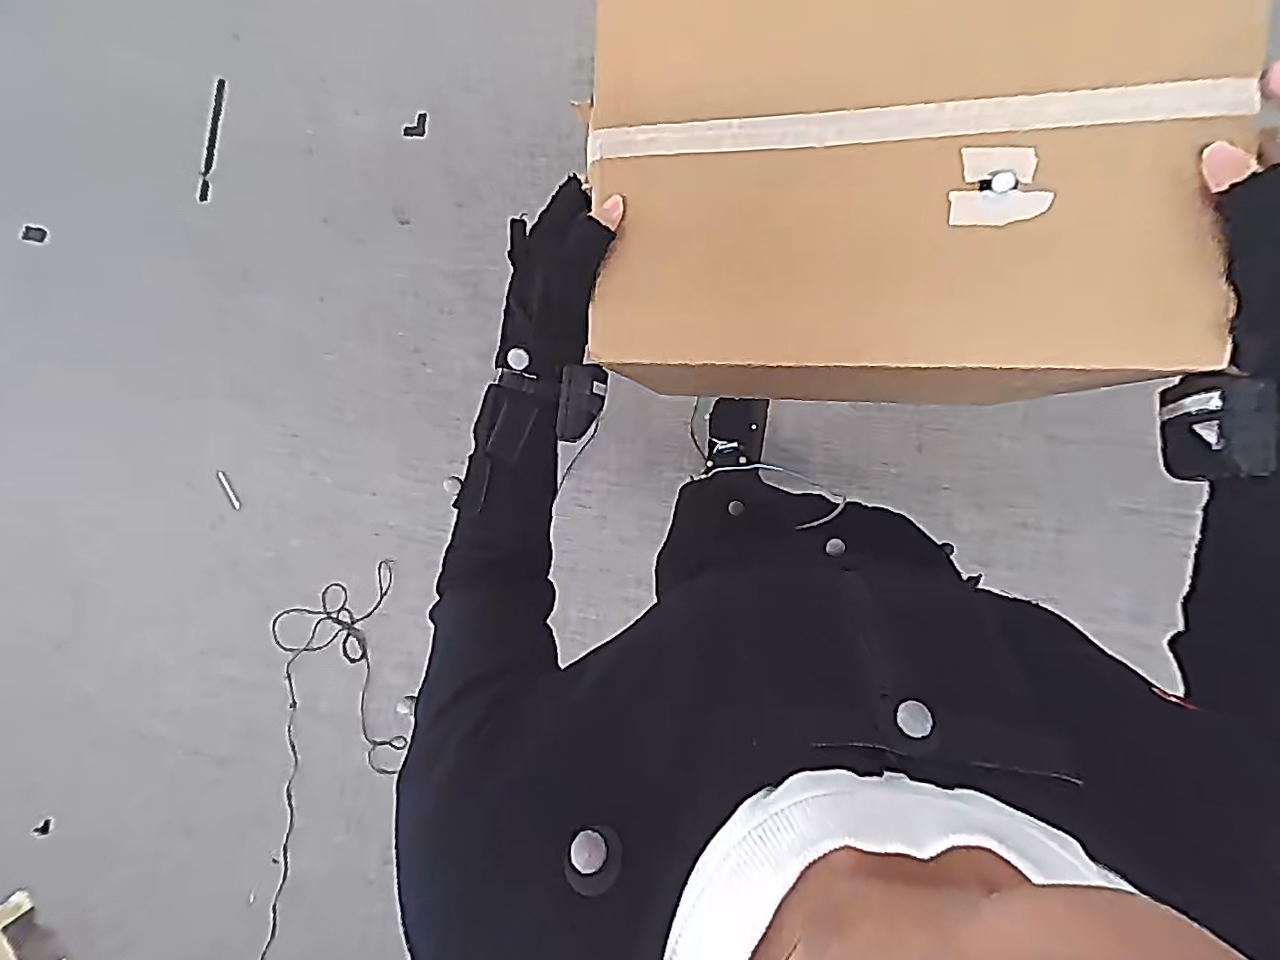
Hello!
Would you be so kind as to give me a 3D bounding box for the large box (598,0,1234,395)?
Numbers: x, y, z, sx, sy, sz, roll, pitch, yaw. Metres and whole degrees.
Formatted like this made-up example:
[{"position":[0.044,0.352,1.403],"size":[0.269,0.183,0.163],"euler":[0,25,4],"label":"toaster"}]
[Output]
[{"position":[0.190,-0.252,0.517],"size":[0.408,0.320,0.320],"euler":[3,95,11],"label":"large box"}]
